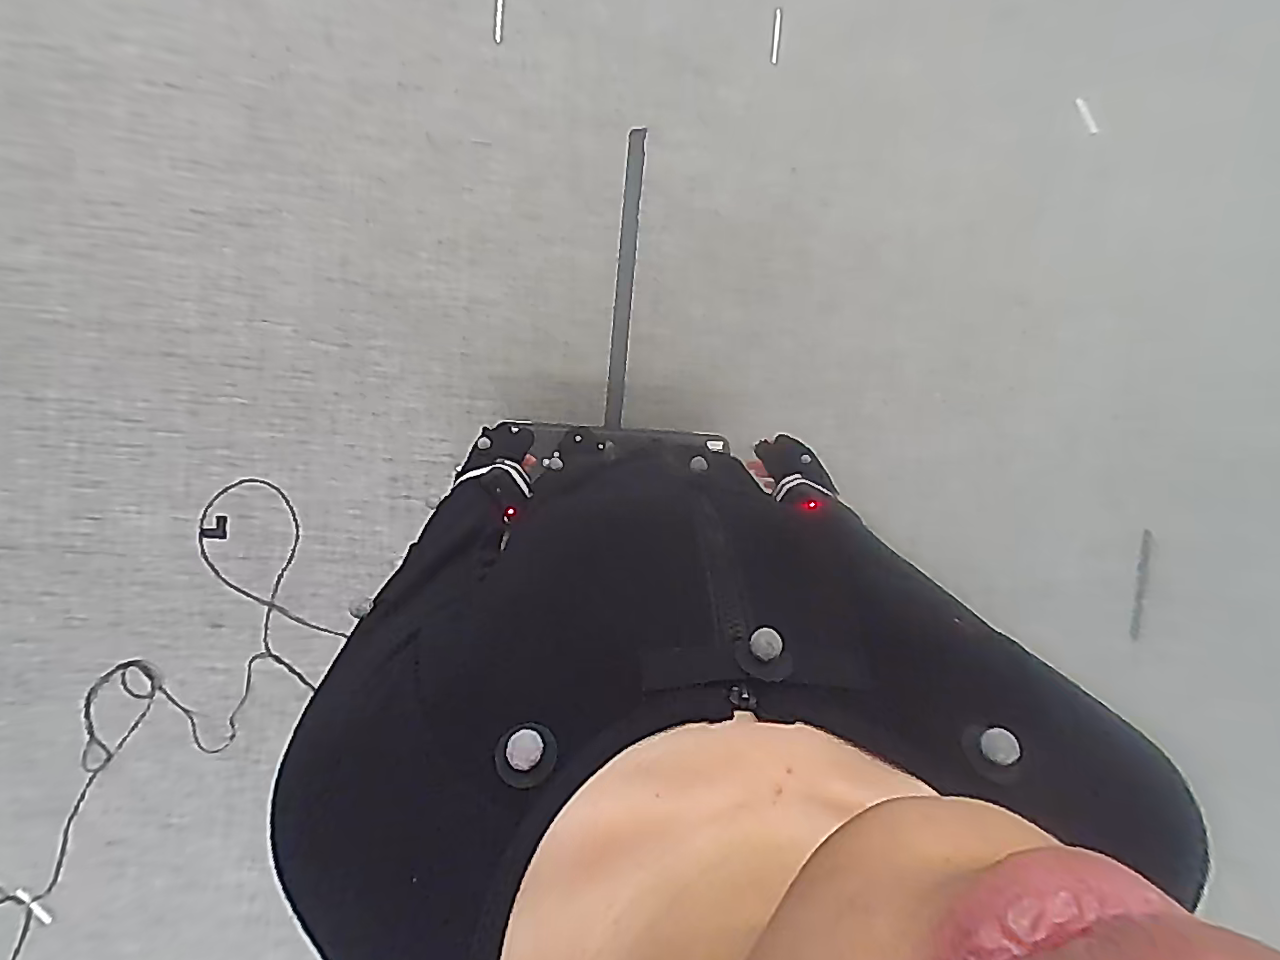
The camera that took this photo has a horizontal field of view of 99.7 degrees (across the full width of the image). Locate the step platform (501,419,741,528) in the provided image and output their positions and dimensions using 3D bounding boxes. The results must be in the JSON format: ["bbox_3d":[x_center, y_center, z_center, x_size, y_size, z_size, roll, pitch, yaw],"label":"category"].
[{"bbox_3d":[-0.053,-0.018,1.570,0.684,0.204,0.286,2,95,-6],"label":"step platform"}]
